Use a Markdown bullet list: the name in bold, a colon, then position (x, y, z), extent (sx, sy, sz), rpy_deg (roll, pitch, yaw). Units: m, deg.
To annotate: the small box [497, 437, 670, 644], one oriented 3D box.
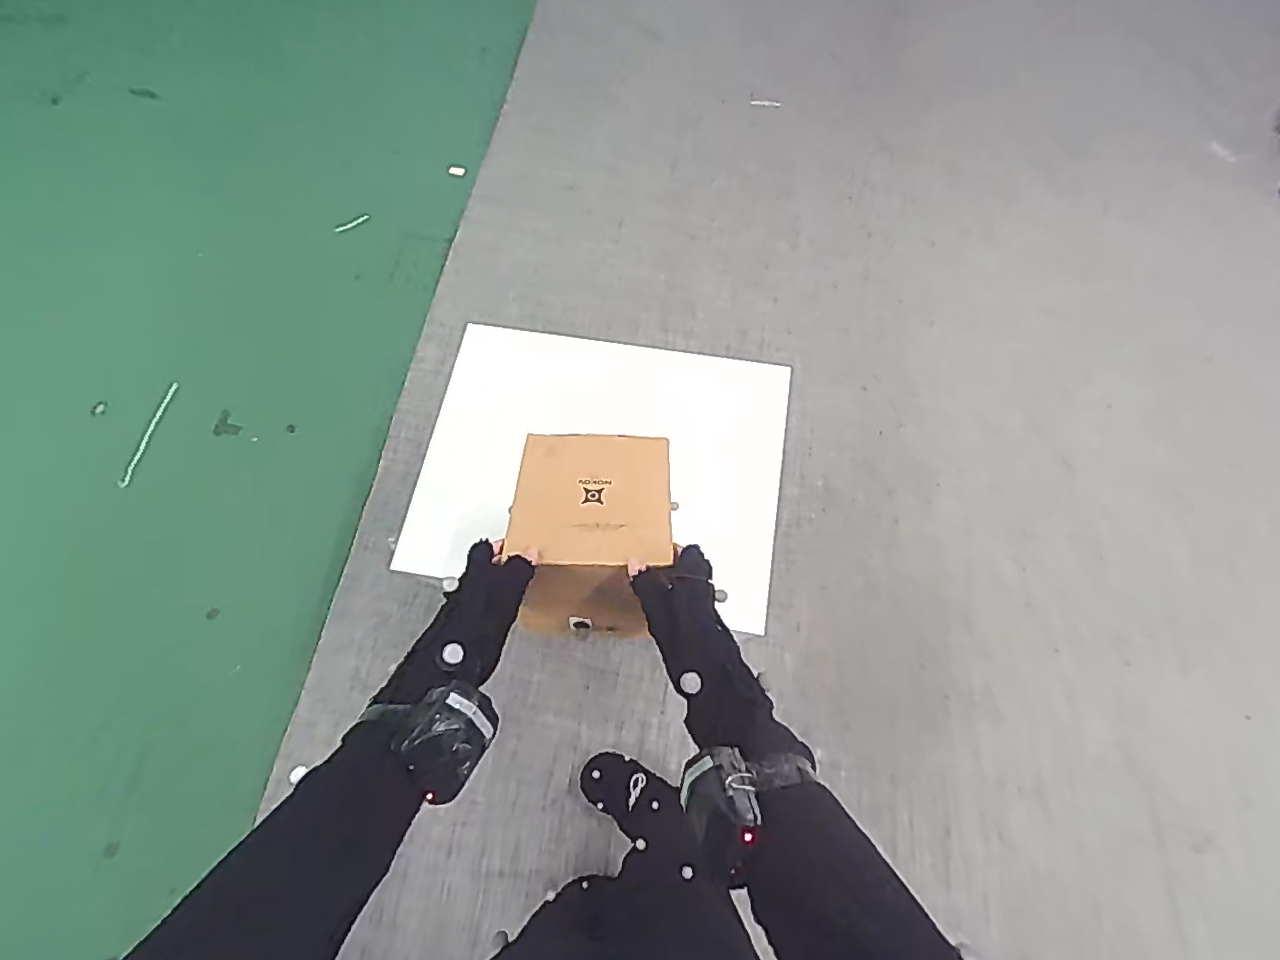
- **small box**: position (-0.054, 0.070, 0.620), extent (0.168, 0.176, 0.179), rpy_deg (0, 49, 0)
